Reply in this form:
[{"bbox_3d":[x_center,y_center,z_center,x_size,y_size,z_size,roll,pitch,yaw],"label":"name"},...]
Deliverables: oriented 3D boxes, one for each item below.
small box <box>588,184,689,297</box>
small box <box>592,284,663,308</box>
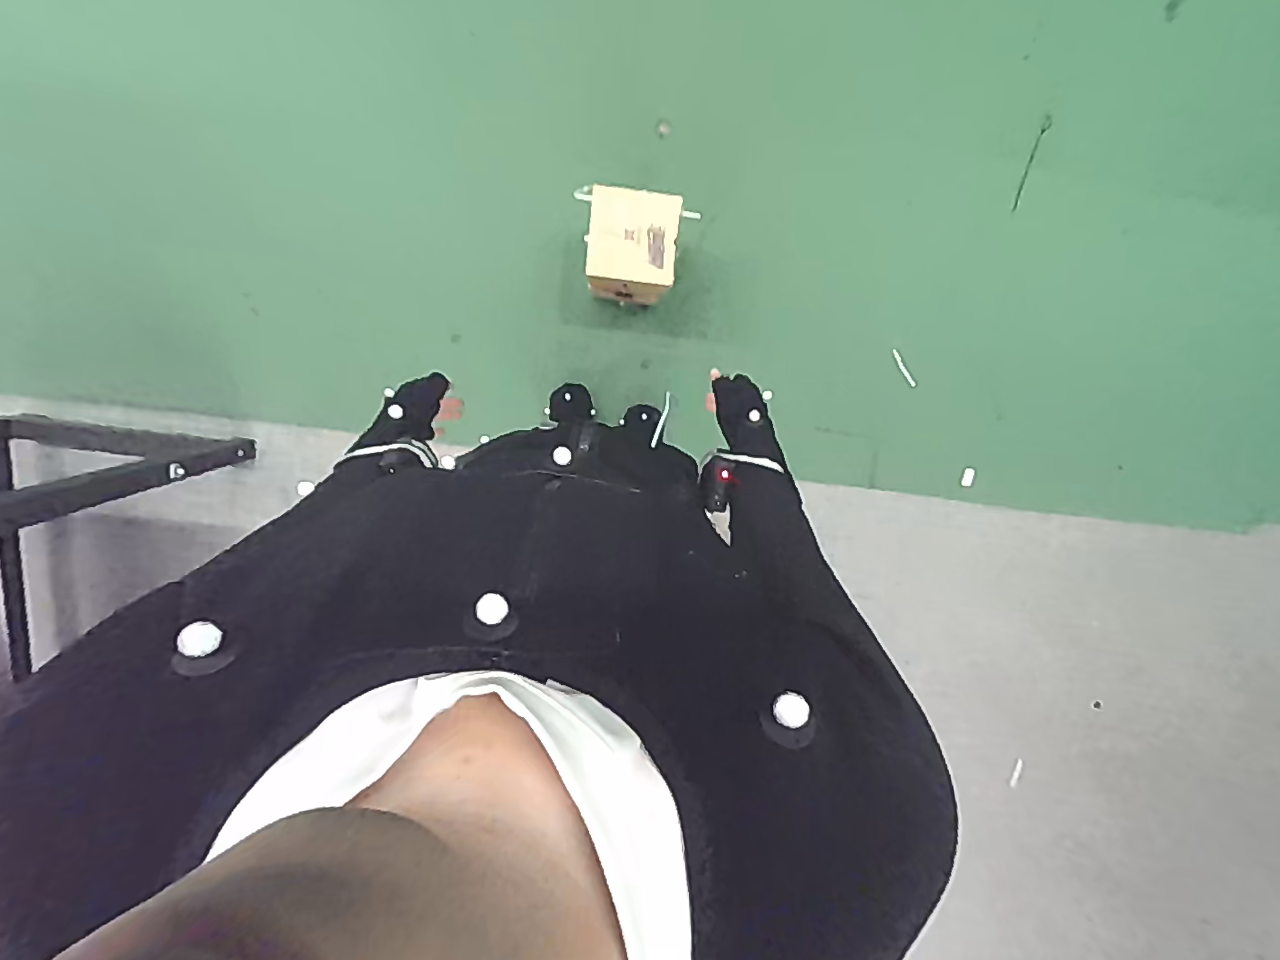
[{"bbox_3d":[-0.008,-0.484,1.122,0.179,0.176,0.168,9,100,-5],"label":"small box"},{"bbox_3d":[-0.020,-0.517,1.285,0.168,0.176,0.179,7,102,-3],"label":"small box"}]
